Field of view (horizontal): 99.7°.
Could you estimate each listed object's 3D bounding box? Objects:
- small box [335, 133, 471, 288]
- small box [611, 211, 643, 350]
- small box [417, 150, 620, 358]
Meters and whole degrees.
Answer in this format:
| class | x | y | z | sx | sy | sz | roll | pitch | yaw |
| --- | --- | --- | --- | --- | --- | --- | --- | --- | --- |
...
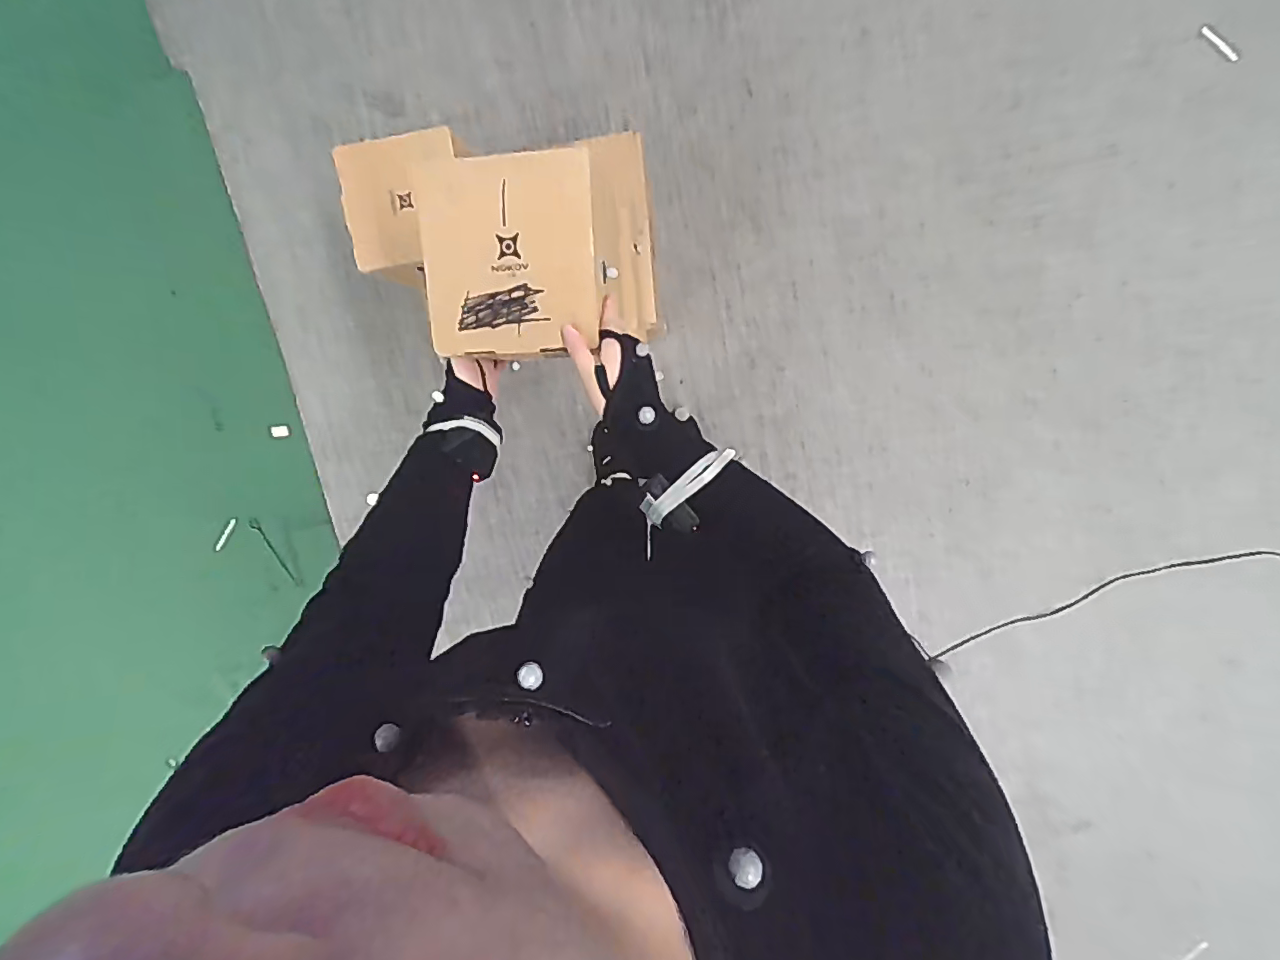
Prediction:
| class | x | y | z | sx | sy | sz | roll | pitch | yaw |
| --- | --- | --- | --- | --- | --- | --- | --- | --- | --- |
| small box | -0.325 | -0.402 | 0.836 | 0.179 | 0.176 | 0.168 | -6 | 100 | 7 |
| small box | -0.085 | -0.293 | 0.837 | 0.168 | 0.176 | 0.179 | -3 | 100 | 5 |
| small box | -0.115 | -0.224 | 0.585 | 0.168 | 0.176 | 0.179 | -1 | 100 | 7 |
